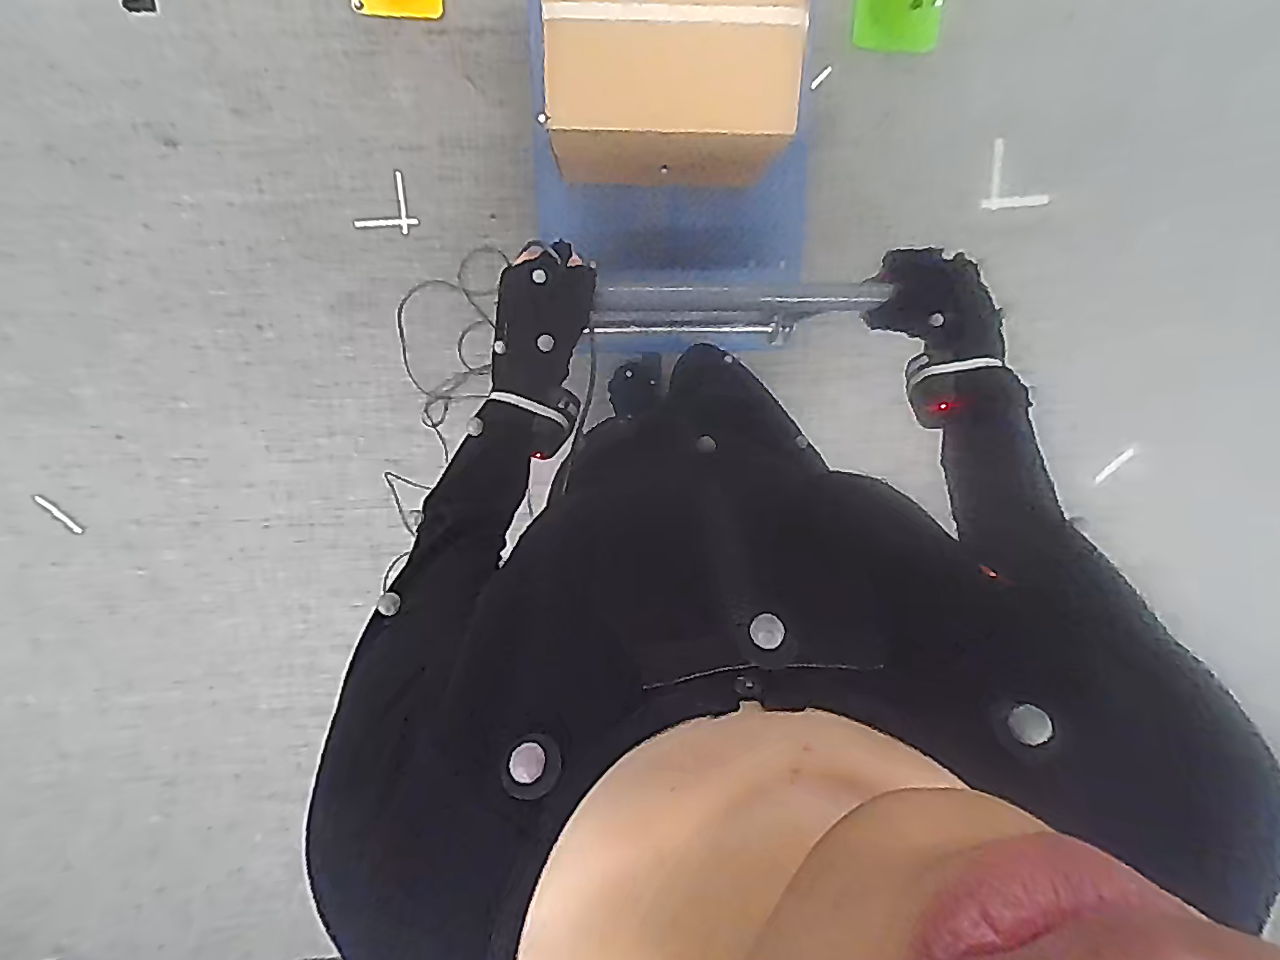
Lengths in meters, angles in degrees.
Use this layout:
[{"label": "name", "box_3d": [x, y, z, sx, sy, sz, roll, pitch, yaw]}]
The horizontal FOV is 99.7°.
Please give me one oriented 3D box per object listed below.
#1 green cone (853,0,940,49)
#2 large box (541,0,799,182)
[{"label": "green cone", "box_3d": [0.601, -1.065, 1.069, 0.202, 0.368, 0.200, 2, 104, -4]}, {"label": "large box", "box_3d": [0.045, -0.746, 0.977, 0.408, 0.320, 0.320, 0, 104, -2]}]
